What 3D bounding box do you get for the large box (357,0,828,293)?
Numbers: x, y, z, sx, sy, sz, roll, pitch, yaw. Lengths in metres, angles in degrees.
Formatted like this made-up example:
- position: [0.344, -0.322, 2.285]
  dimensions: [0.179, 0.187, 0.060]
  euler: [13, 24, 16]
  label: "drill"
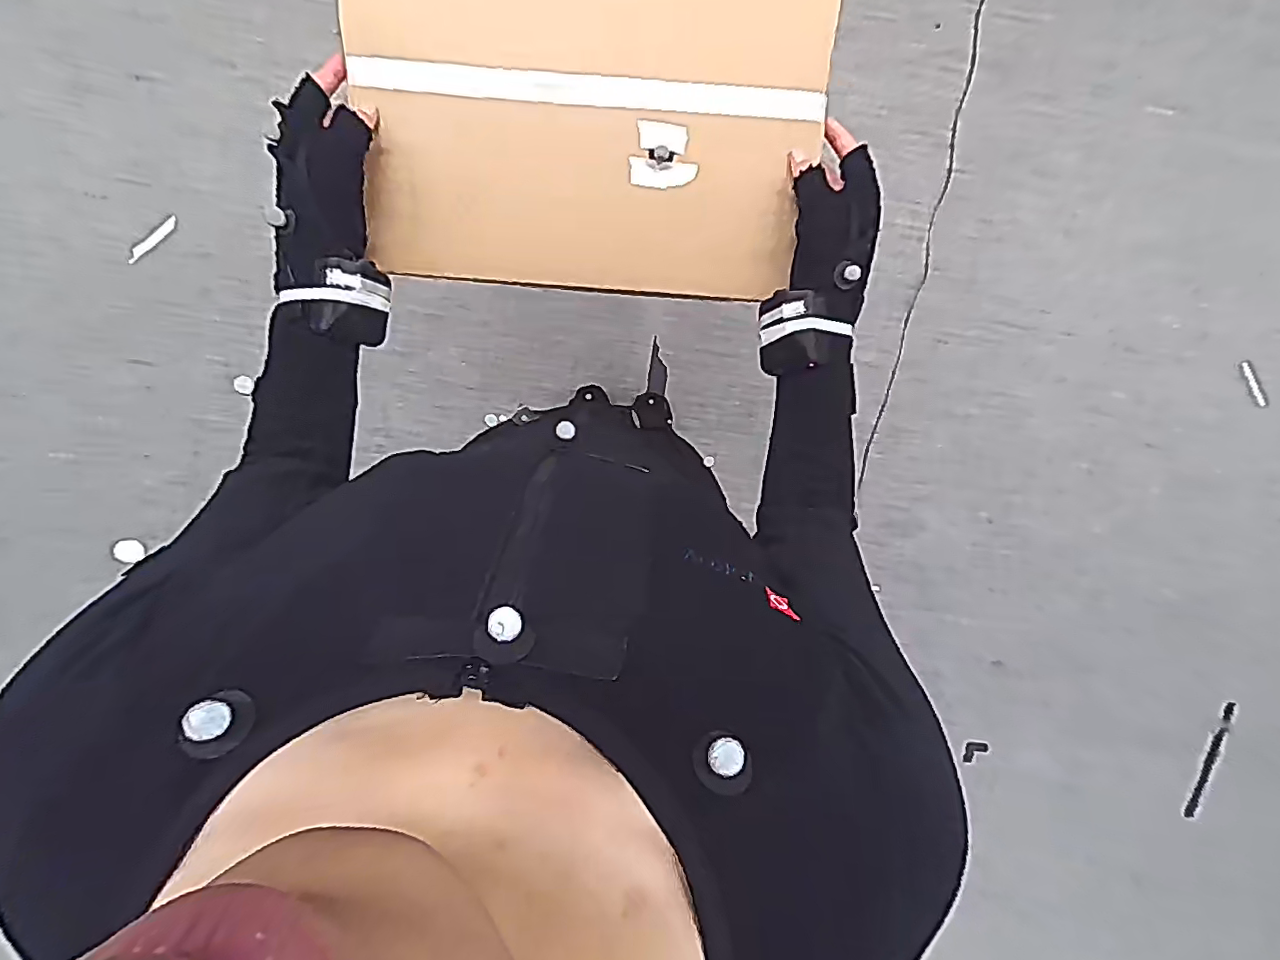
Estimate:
- position: [-0.046, -0.386, 0.615]
  dimensions: [0.408, 0.320, 0.320]
  euler: [3, 109, -2]
  label: "large box"
